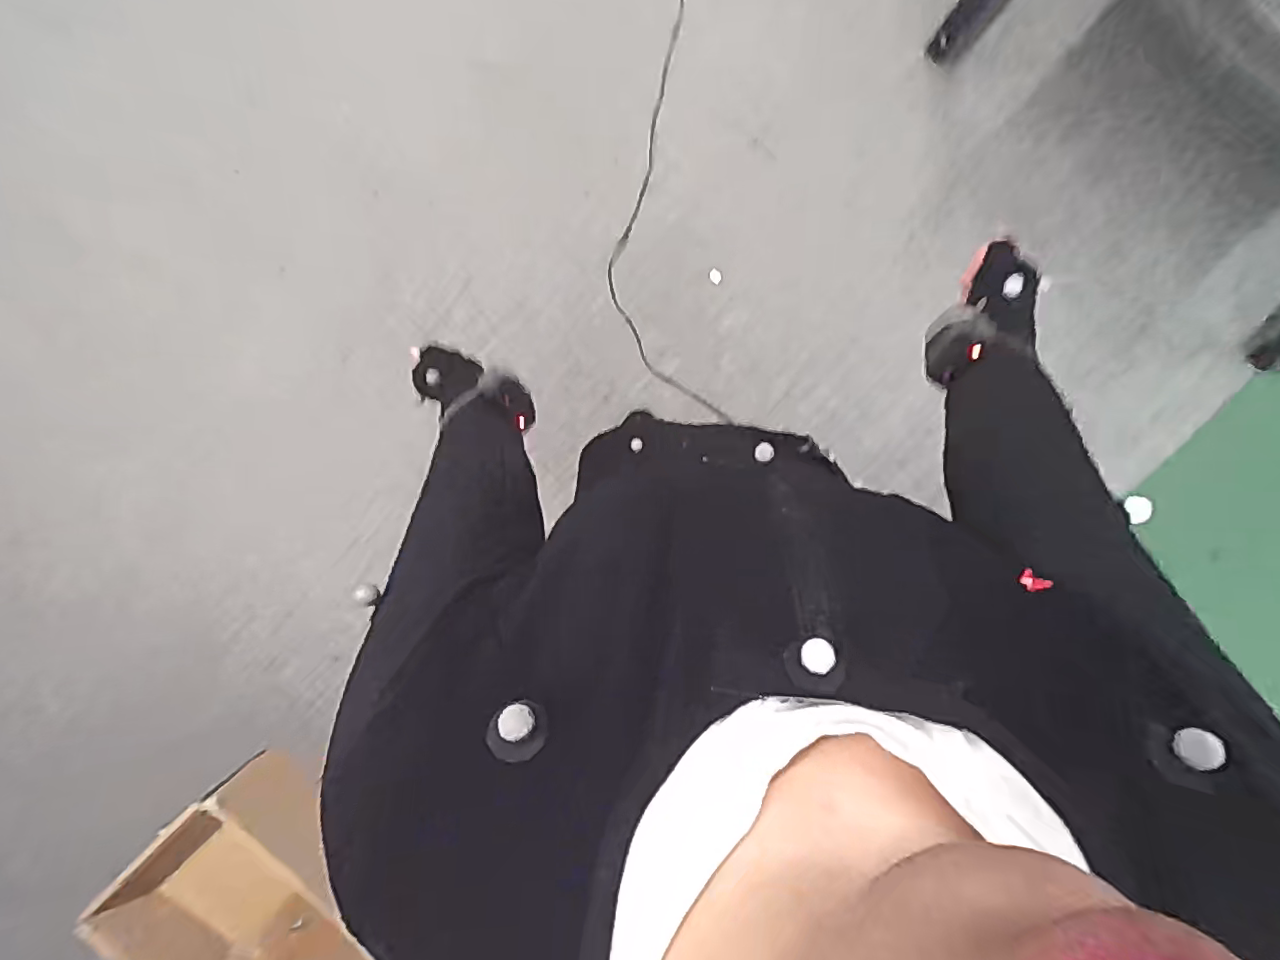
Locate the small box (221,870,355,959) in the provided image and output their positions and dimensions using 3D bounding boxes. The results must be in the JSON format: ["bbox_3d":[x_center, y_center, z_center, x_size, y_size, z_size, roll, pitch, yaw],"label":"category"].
[{"bbox_3d":[-0.725,0.960,1.106,0.179,0.176,0.168,-44,91,8],"label":"small box"}]
